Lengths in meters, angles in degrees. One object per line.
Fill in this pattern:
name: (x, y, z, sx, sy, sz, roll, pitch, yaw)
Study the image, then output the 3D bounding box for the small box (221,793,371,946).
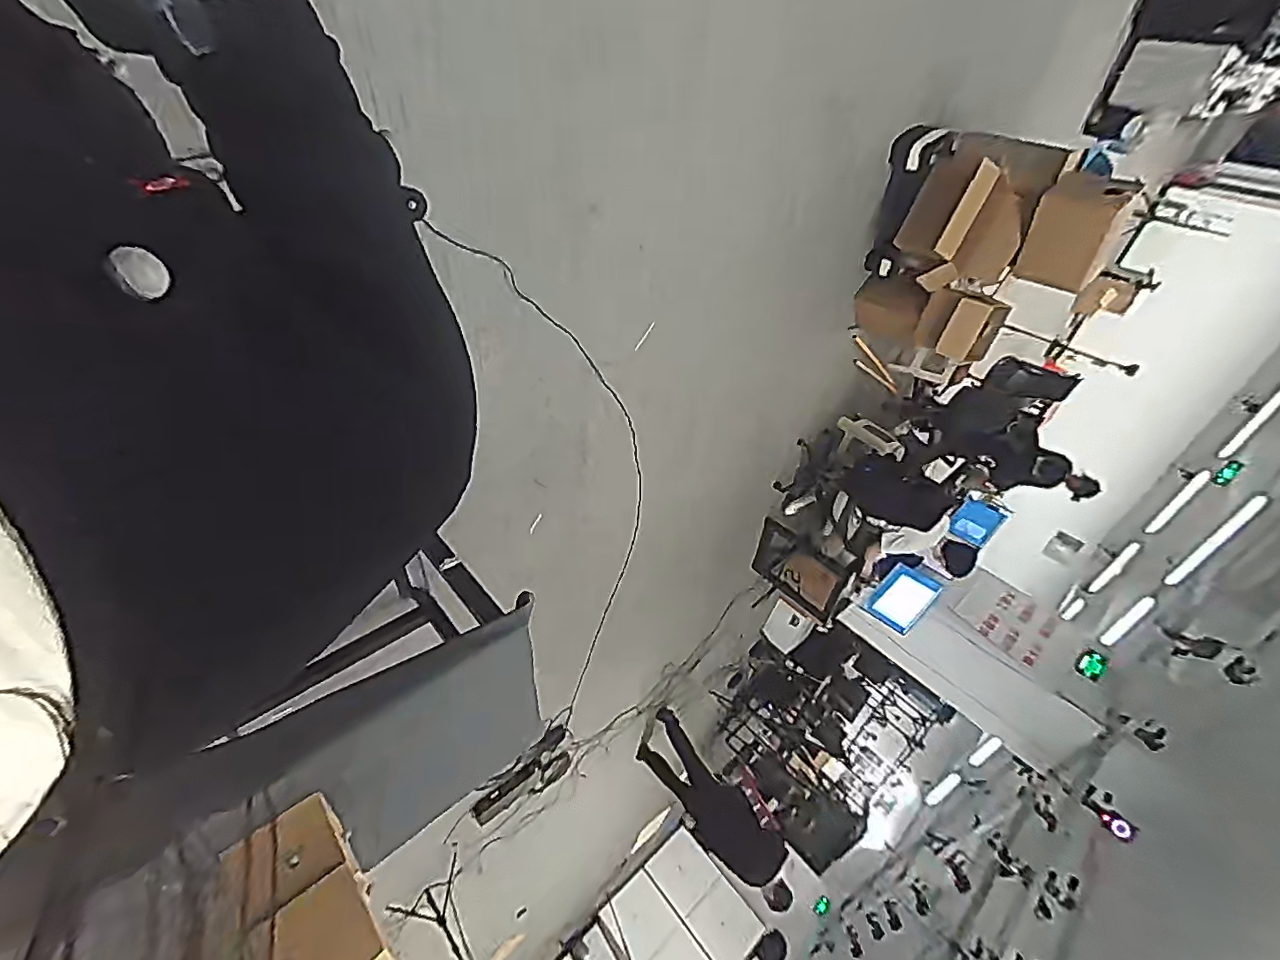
small box: (-0.659, 0.752, 1.044, 0.179, 0.176, 0.168, -29, 143, -32)

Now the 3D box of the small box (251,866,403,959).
small box: (-0.535, 0.824, 0.931, 0.179, 0.176, 0.168, -29, 142, -31)
